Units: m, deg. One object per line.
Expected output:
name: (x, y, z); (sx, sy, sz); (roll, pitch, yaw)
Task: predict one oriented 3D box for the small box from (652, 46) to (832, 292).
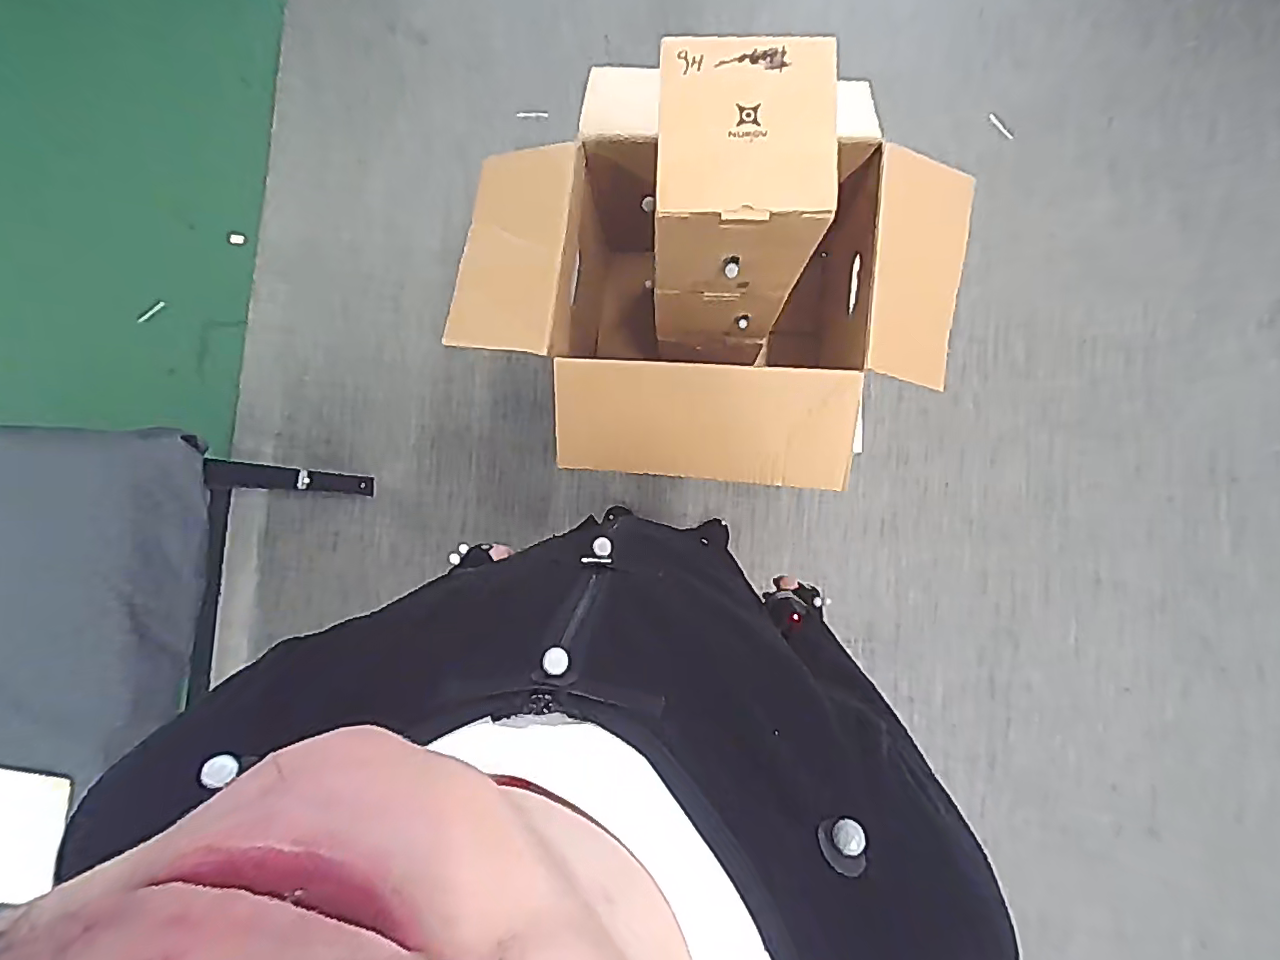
small box: (0.098, -0.318, 0.585); (0.168, 0.176, 0.179); (2, 86, 1)
